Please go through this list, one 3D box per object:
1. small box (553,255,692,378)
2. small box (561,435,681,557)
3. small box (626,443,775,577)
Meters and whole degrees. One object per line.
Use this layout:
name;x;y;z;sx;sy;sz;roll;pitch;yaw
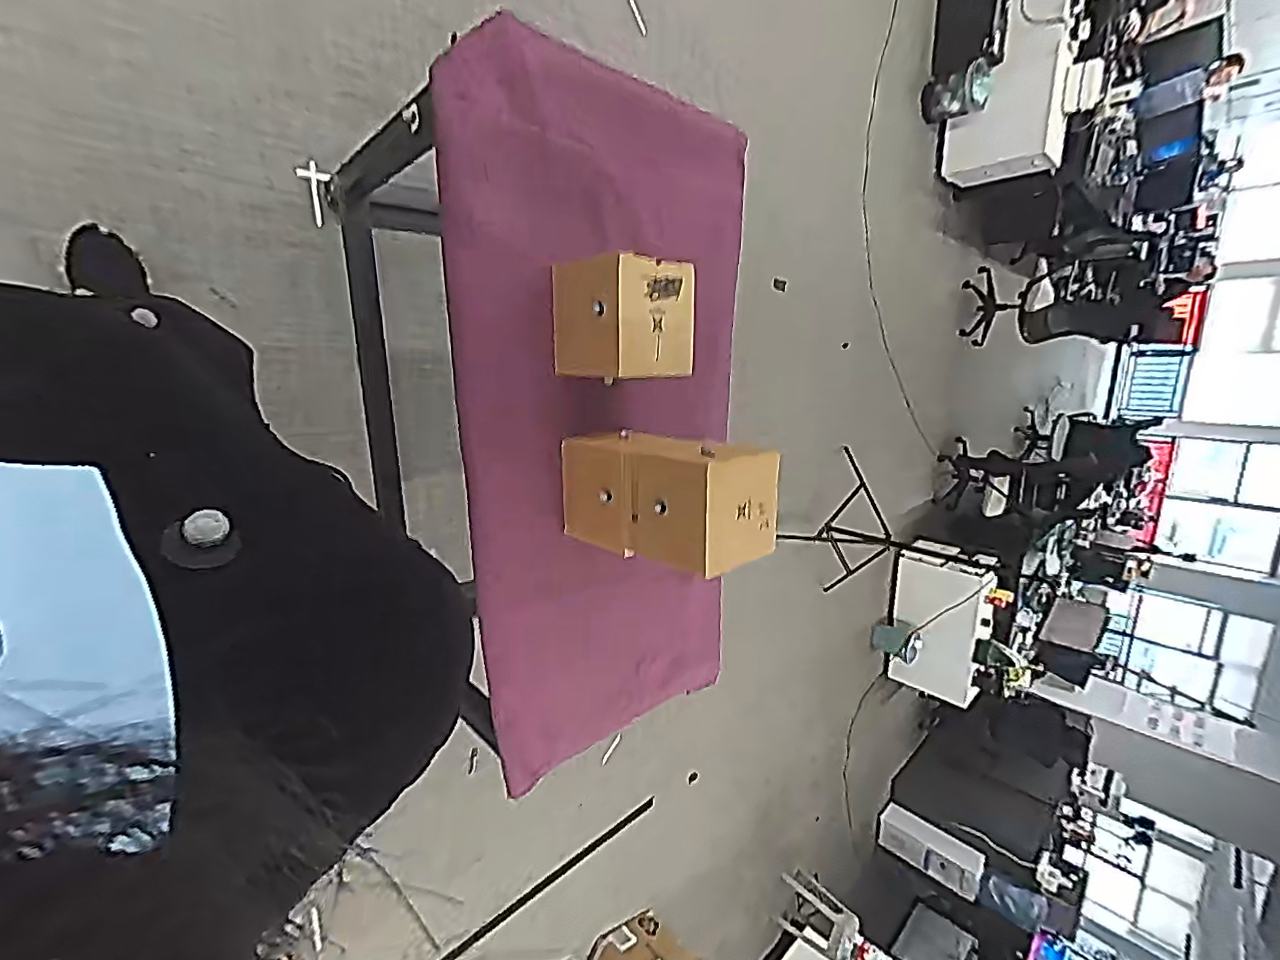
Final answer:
small box;-0.032;-0.259;0.896;0.168;0.176;0.179;-11;108;-42
small box;-0.028;0.018;0.964;0.168;0.176;0.179;-11;106;-42
small box;0.091;0.036;0.851;0.179;0.176;0.168;-11;106;-43
